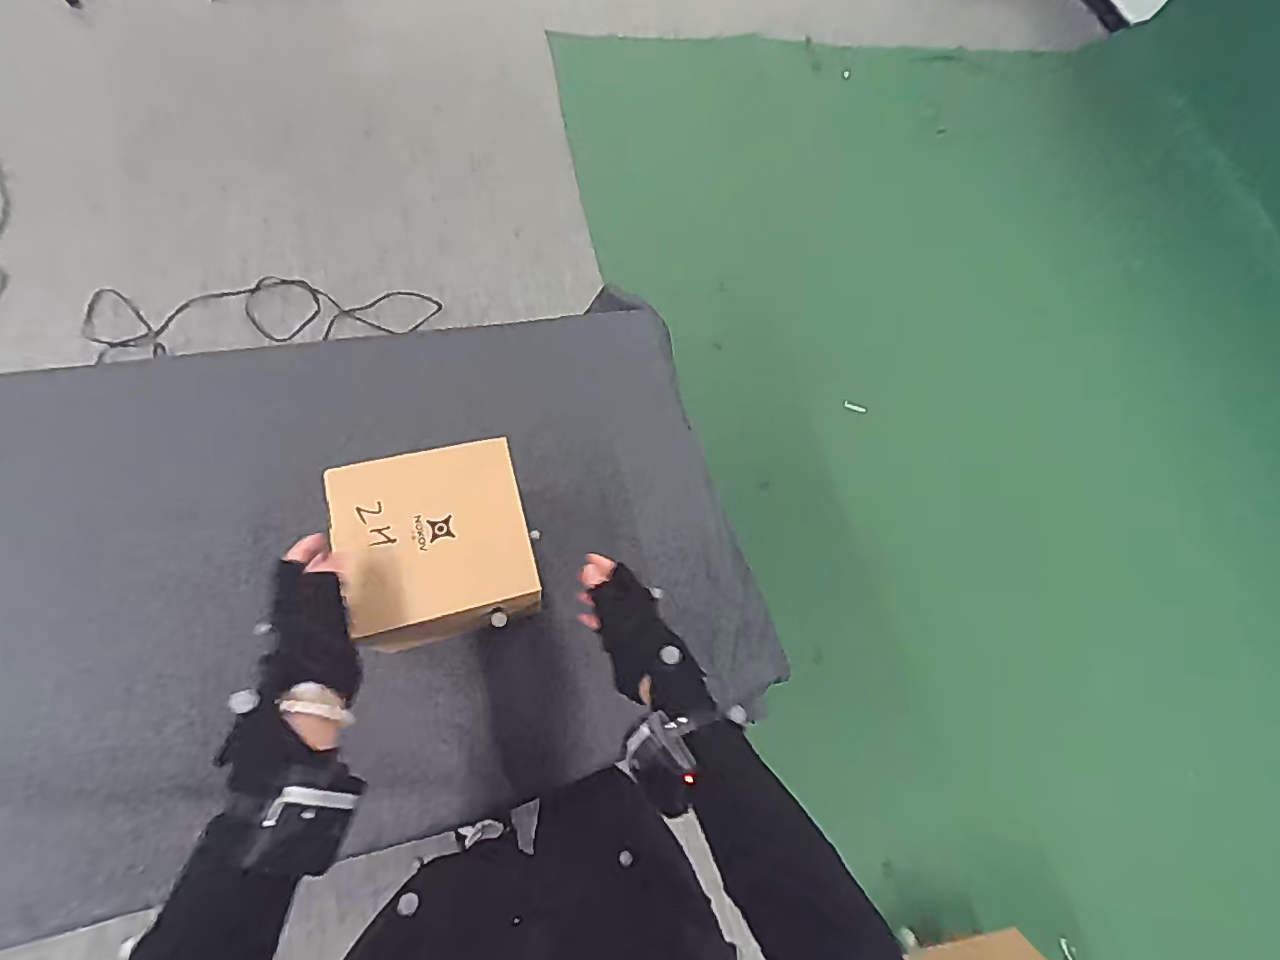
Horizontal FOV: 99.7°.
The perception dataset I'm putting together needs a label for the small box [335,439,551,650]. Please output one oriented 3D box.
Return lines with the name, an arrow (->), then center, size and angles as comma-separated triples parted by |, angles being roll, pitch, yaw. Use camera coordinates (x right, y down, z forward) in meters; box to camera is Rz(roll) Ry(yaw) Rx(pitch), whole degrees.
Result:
small box -> -0.202, 0.076, 0.586 | 0.179, 0.176, 0.168 | -13, 71, -15
